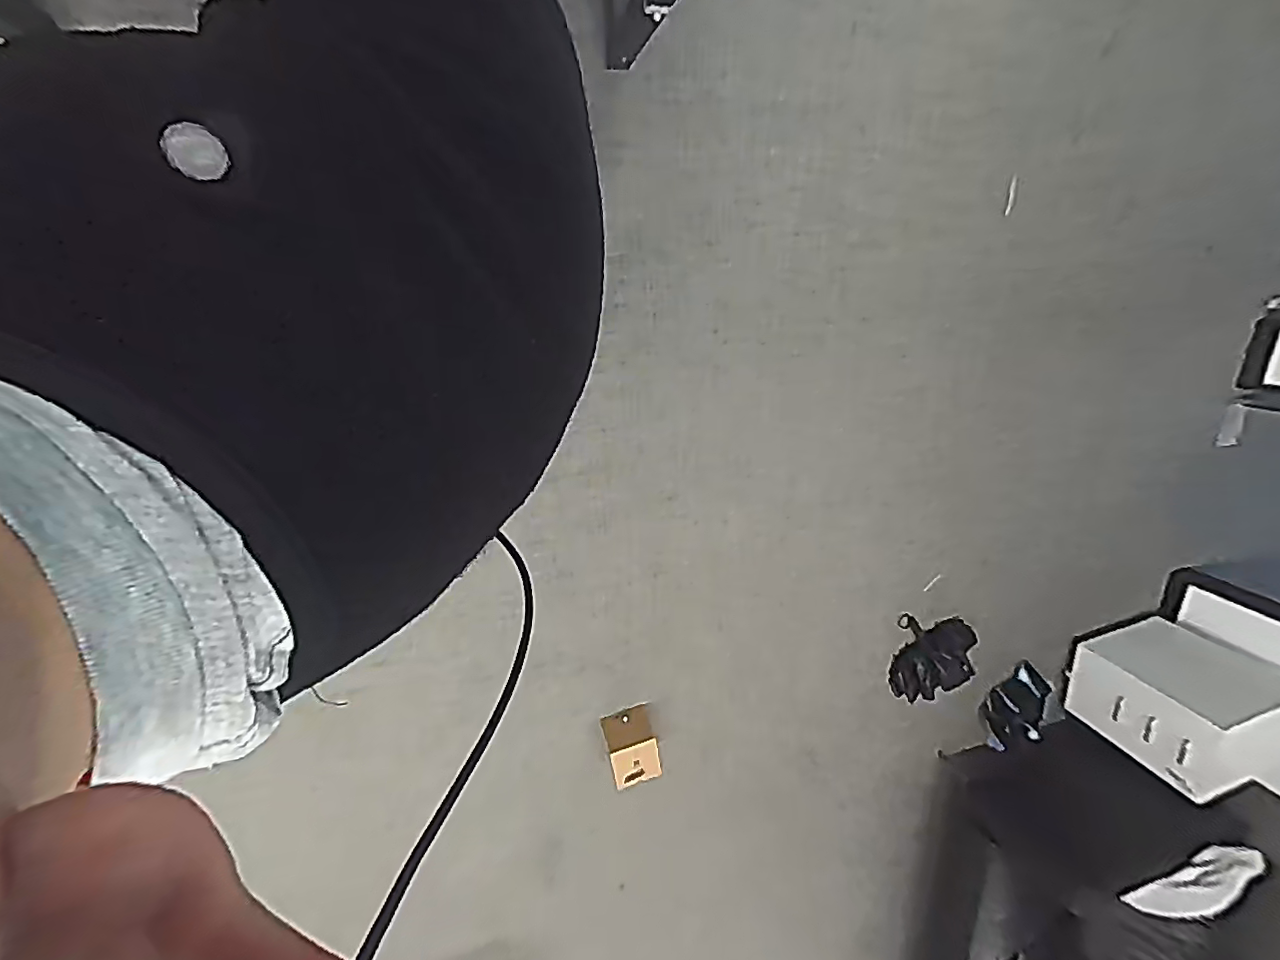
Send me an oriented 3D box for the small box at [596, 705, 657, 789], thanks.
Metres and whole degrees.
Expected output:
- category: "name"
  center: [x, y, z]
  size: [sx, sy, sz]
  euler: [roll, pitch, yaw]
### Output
- category: "small box"
  center: [-0.049, 0.942, 1.919]
  size: [0.168, 0.176, 0.179]
  euler: [-14, 112, -13]
